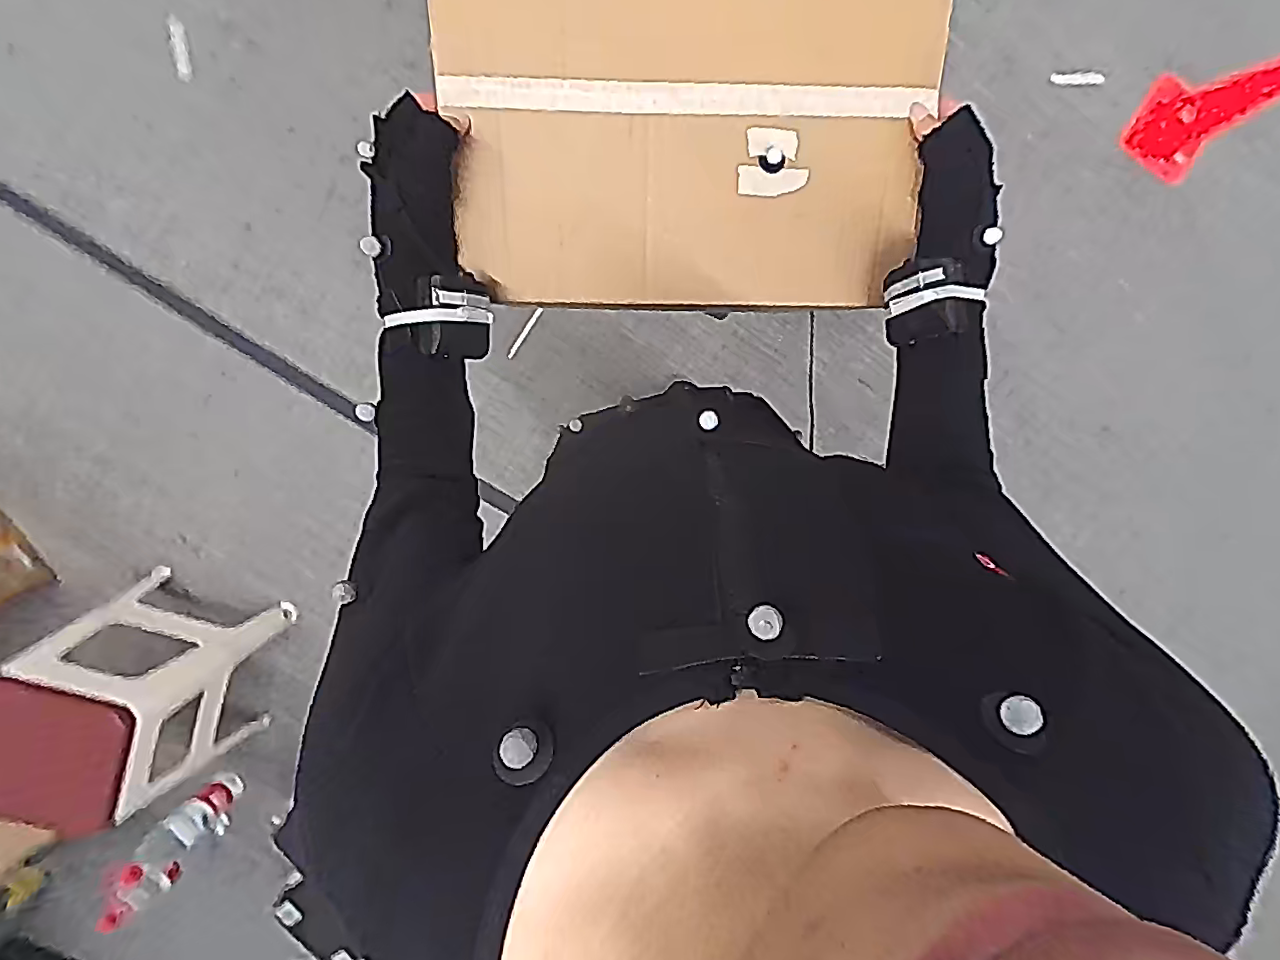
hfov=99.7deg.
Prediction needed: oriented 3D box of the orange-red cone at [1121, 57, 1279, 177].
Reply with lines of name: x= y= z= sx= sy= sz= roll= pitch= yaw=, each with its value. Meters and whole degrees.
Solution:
orange-red cone: x=1.369 y=-0.890 z=1.224 sx=0.198 sy=0.360 sz=0.199 roll=30 pitch=95 yaw=-8

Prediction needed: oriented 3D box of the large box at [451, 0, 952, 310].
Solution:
large box: x=0.041 y=-0.351 z=0.587 sx=0.408 sy=0.320 sz=0.320 roll=1 pitch=107 yaw=-4
